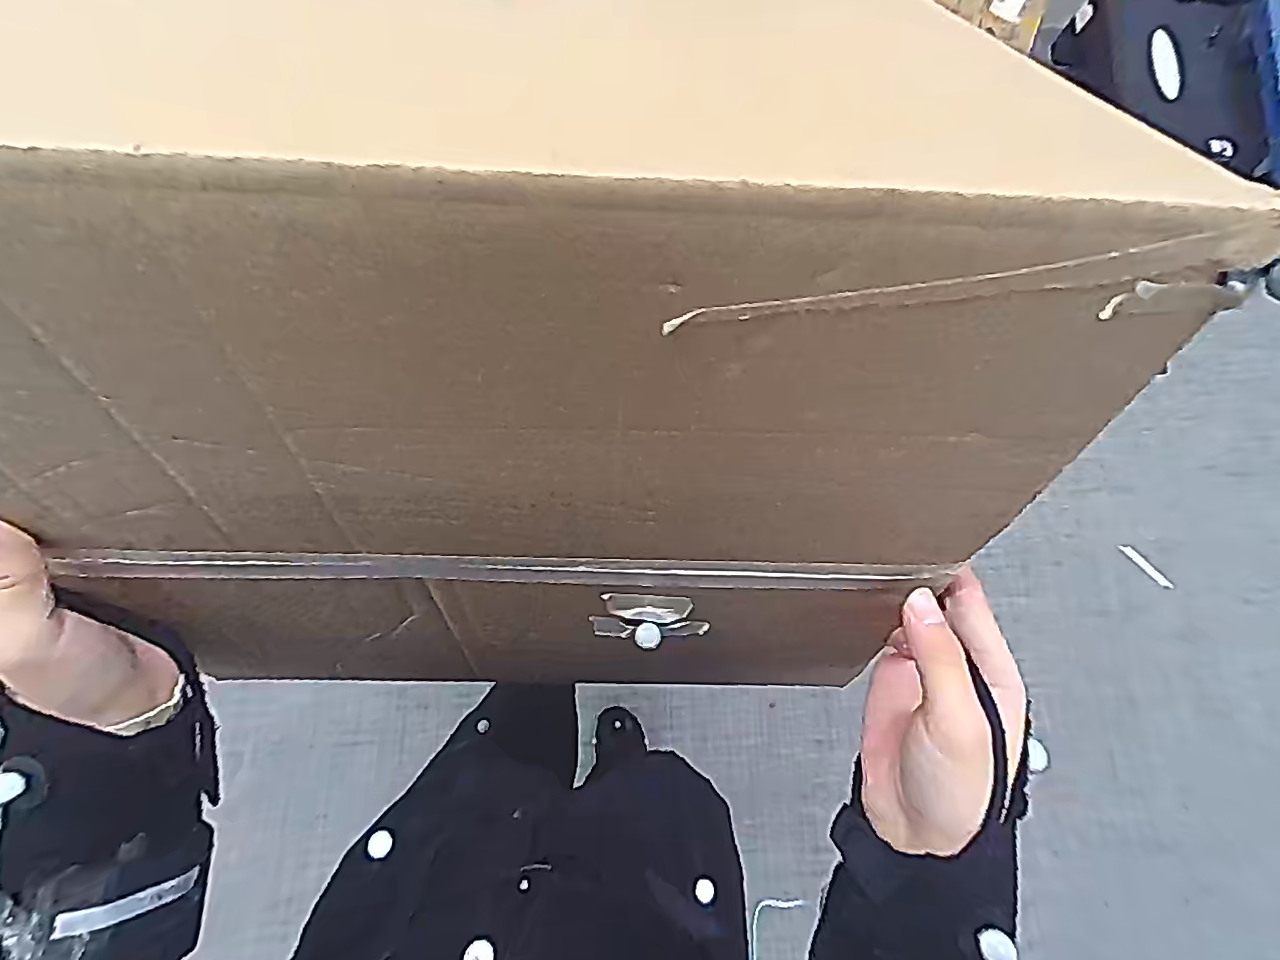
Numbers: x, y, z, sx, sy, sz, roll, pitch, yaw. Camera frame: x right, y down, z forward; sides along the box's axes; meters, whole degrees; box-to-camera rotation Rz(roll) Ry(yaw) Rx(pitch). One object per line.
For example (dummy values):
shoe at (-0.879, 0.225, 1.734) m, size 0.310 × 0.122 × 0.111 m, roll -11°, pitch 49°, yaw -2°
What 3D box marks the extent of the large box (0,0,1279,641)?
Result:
large box at (-0.053, -0.110, 0.326) m, size 0.408 × 0.320 × 0.320 m, roll 1°, pitch 52°, yaw -2°
